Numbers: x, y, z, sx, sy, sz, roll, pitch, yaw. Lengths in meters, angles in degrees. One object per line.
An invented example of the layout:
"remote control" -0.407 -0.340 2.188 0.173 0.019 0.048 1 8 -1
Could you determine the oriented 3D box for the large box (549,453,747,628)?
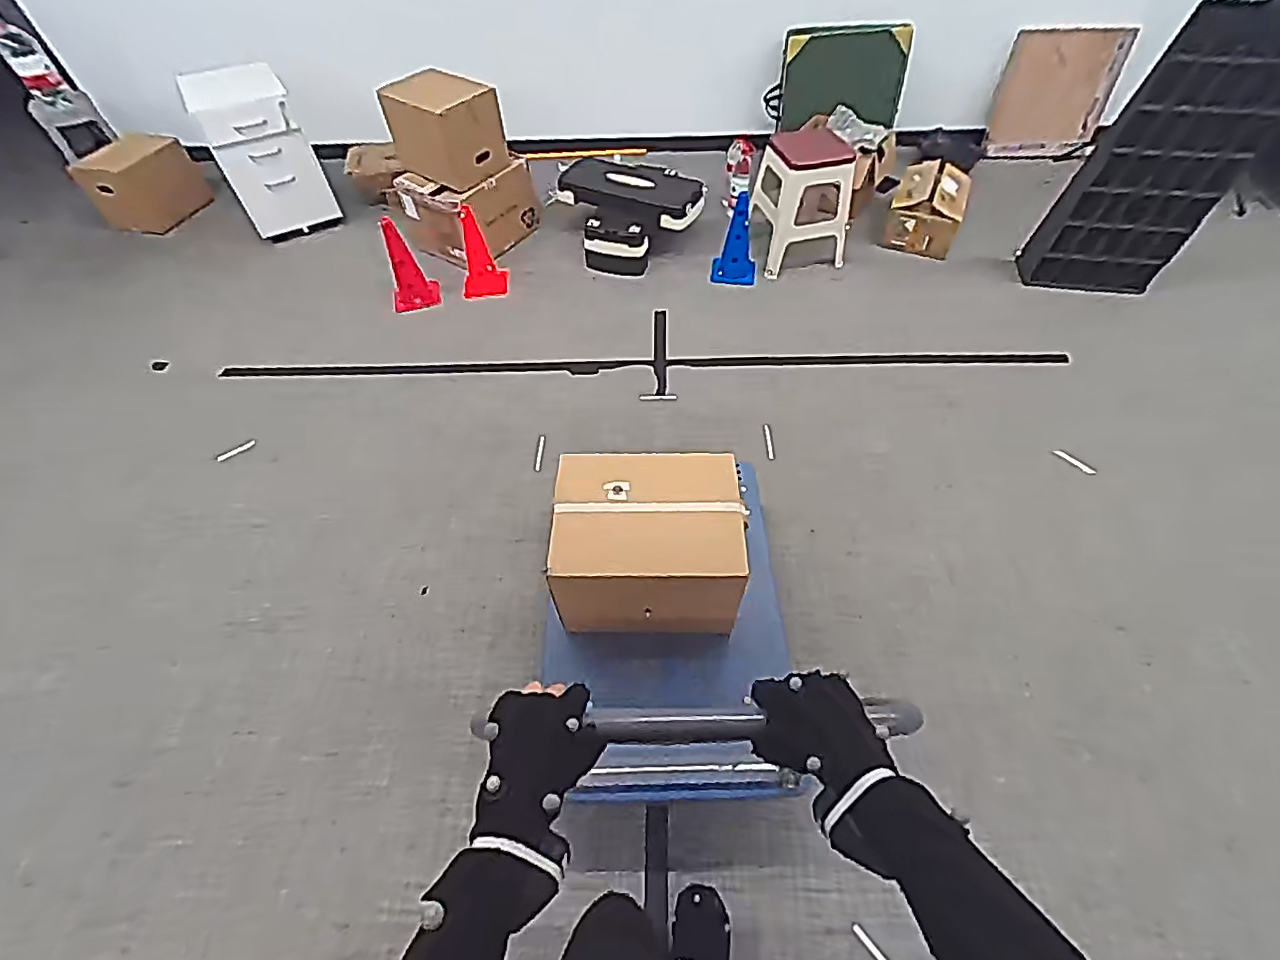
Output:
"large box" 0.021 0.153 1.283 0.408 0.320 0.320 -1 54 2
